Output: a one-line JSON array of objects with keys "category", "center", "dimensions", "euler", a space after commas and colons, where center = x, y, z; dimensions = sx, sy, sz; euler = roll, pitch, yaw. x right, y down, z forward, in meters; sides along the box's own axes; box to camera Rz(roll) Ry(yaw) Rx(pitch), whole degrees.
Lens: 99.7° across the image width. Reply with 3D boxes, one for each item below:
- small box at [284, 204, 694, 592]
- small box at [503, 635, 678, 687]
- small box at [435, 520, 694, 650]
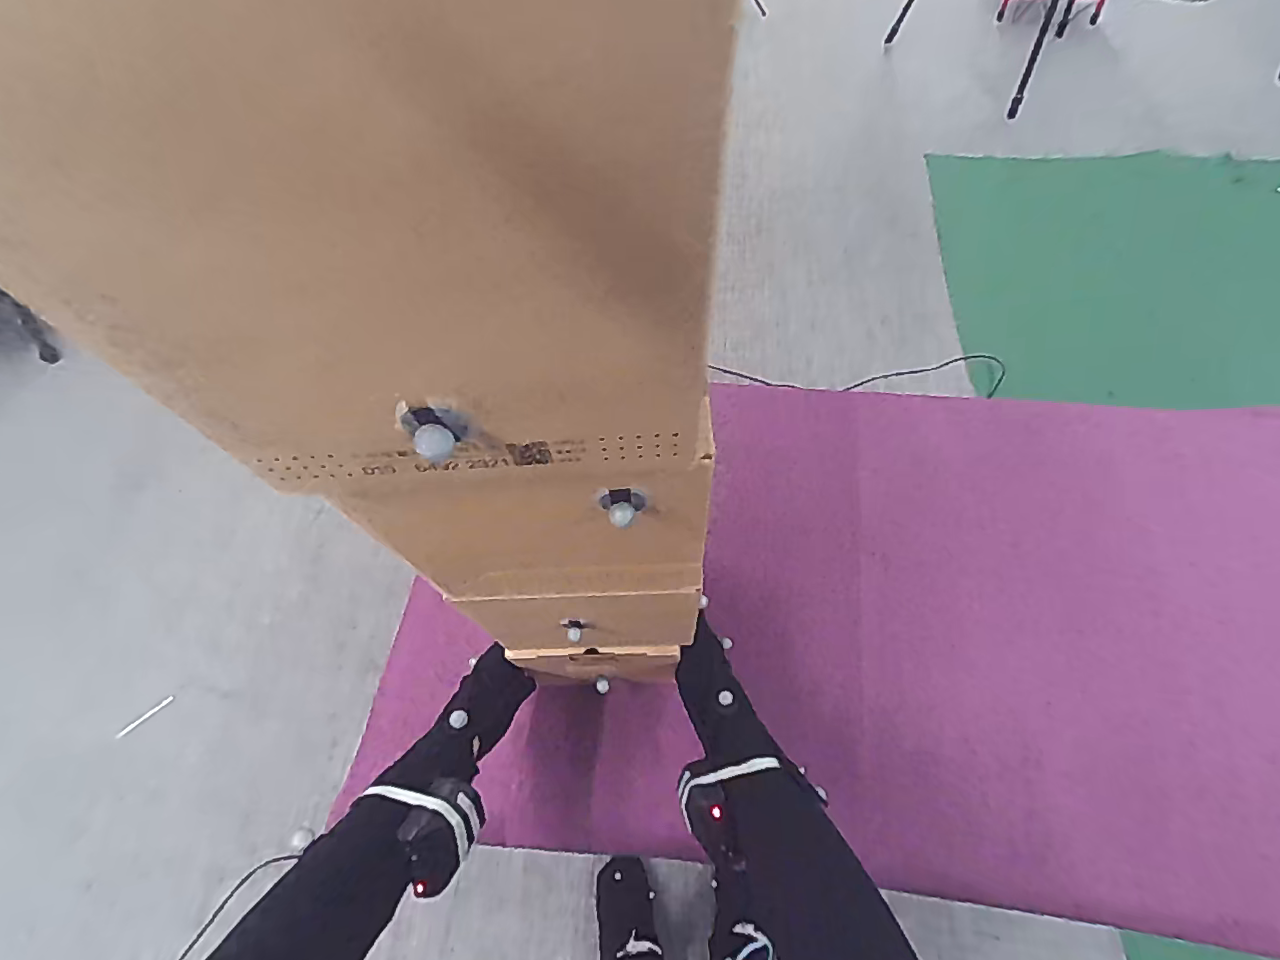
[{"category": "small box", "center": [-0.059, -0.036, 0.329], "dimensions": [0.179, 0.176, 0.168], "euler": [-3, 60, 2]}, {"category": "small box", "center": [-0.043, 0.128, 0.612], "dimensions": [0.168, 0.176, 0.179], "euler": [-2, 61, 3]}, {"category": "small box", "center": [-0.046, 0.043, 0.468], "dimensions": [0.179, 0.176, 0.168], "euler": [0, 59, 4]}]
